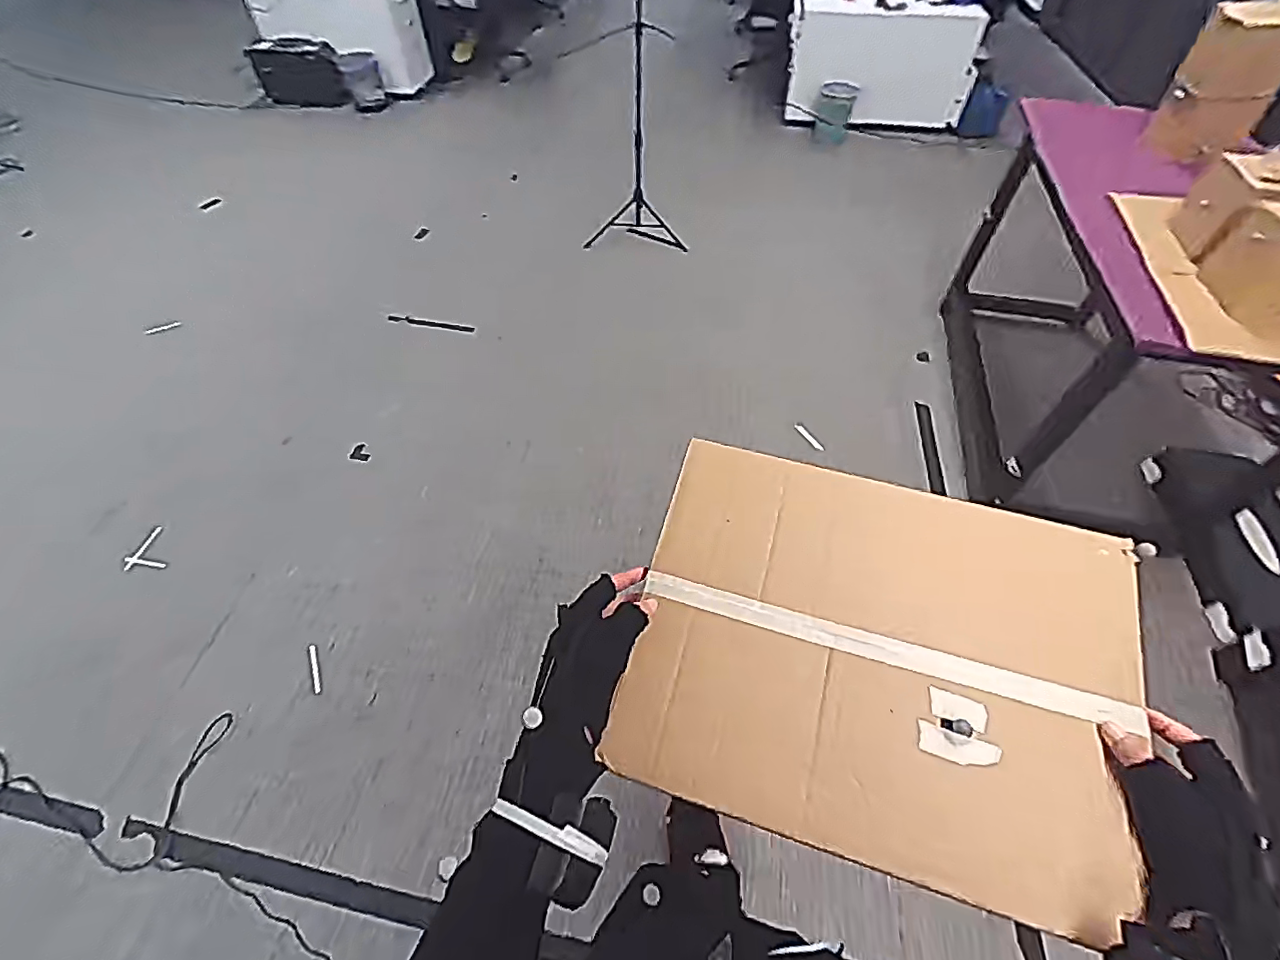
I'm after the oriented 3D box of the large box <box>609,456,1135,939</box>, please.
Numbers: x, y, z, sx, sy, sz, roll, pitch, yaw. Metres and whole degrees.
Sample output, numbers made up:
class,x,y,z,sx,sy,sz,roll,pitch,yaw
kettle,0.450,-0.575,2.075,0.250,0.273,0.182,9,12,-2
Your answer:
class,x,y,z,sx,sy,sz,roll,pitch,yaw
large box,0.212,0.214,0.609,0.408,0.320,0.320,14,67,11
